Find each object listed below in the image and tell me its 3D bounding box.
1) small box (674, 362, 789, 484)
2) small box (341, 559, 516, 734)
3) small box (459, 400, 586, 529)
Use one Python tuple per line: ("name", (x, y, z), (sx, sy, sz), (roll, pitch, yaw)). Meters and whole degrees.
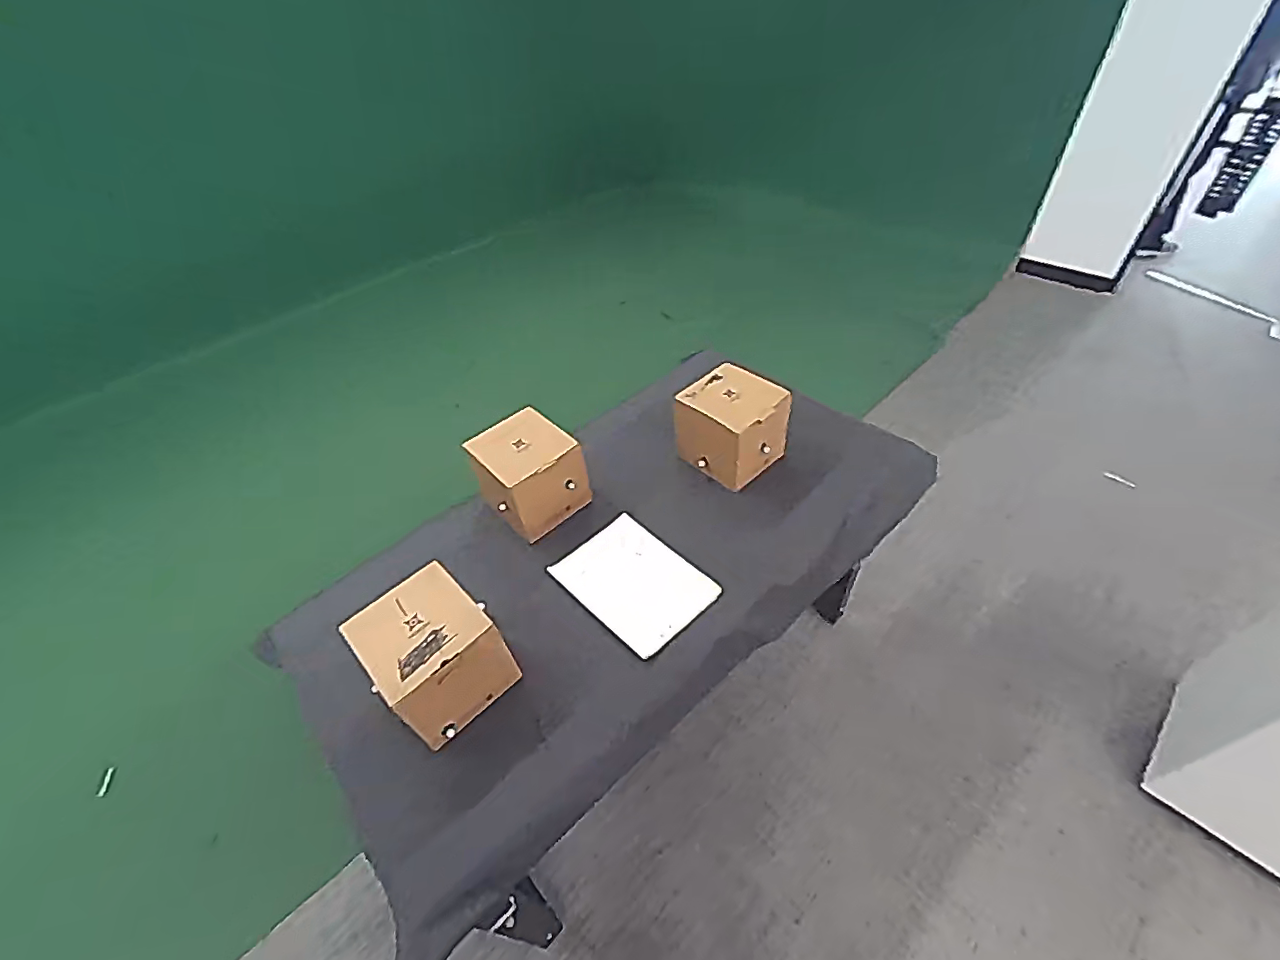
("small box", (0.190, -0.117, 1.154), (0.168, 0.176, 0.179), (-36, 54, -25))
("small box", (-0.319, 0.265, 0.844), (0.168, 0.176, 0.179), (-37, 53, -27))
("small box", (-0.228, -0.026, 1.092), (0.168, 0.176, 0.179), (-36, 53, -27))
